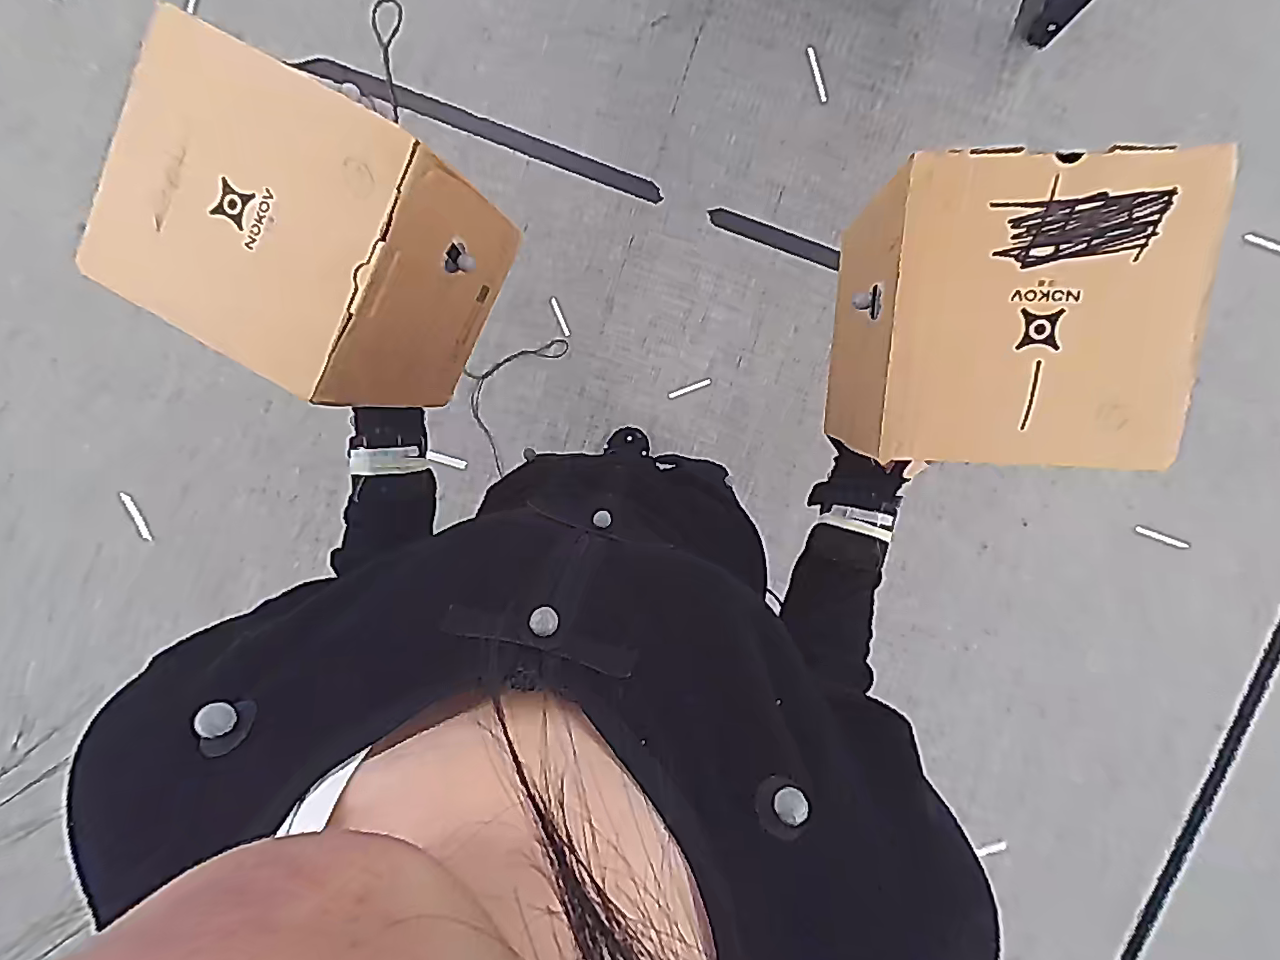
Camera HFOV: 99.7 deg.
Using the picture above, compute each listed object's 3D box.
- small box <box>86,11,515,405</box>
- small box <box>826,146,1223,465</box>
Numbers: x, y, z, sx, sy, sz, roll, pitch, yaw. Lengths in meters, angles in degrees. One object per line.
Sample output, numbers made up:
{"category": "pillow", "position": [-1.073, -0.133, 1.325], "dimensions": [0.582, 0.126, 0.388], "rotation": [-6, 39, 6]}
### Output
{"category": "small box", "position": [-0.219, -0.166, 0.394], "dimensions": [0.179, 0.176, 0.168], "rotation": [29, 99, 4]}
{"category": "small box", "position": [0.240, -0.112, 0.392], "dimensions": [0.168, 0.176, 0.179], "rotation": [3, 101, 7]}
